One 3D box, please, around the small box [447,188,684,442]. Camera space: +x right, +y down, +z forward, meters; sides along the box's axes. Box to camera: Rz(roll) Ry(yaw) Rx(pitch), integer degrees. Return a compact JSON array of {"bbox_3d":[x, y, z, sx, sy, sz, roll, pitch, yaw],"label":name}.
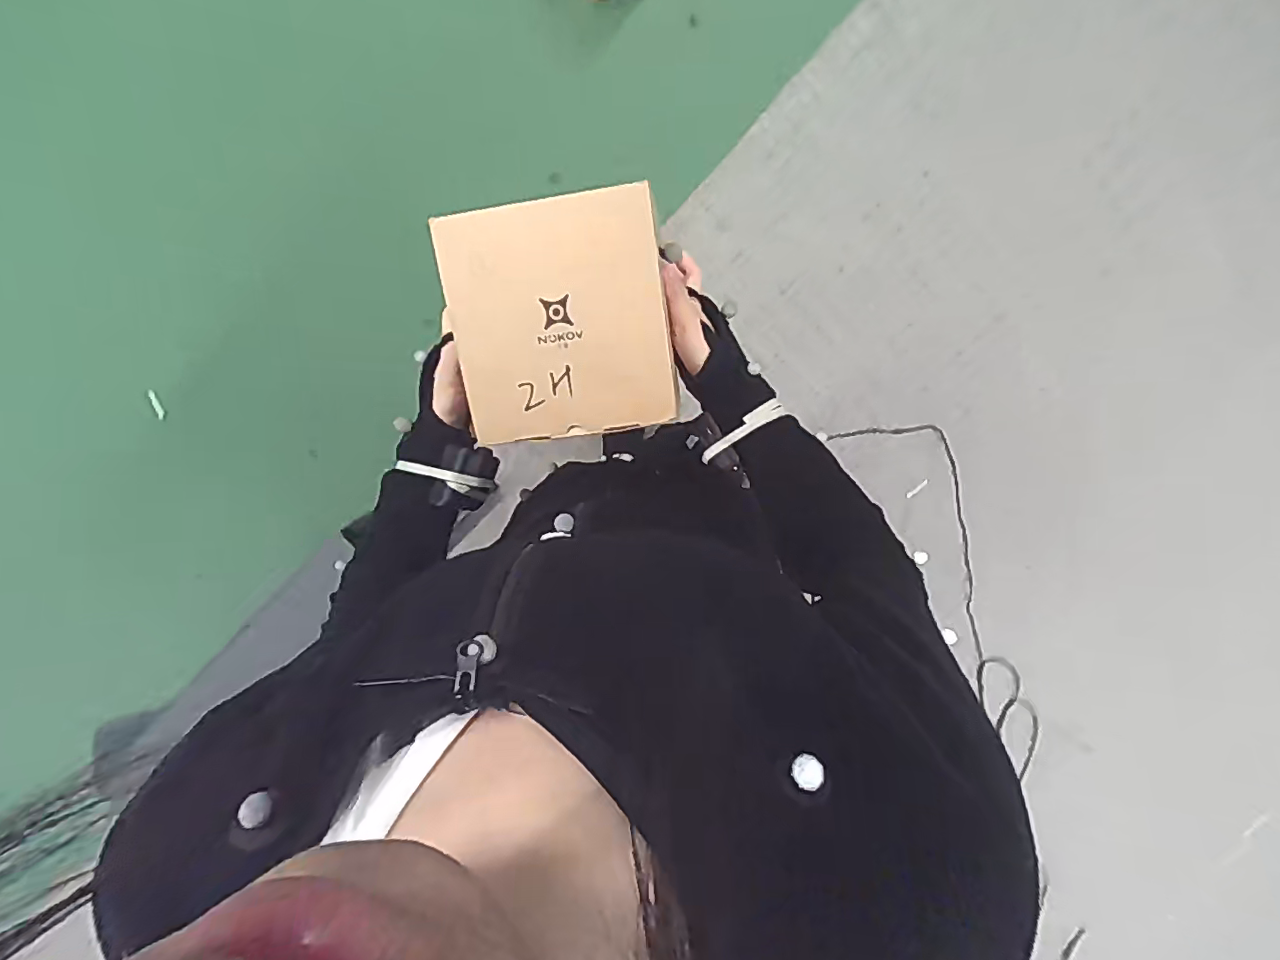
[{"bbox_3d":[-0.049,-0.141,0.495,0.168,0.176,0.179,-5,105,8],"label":"small box"}]
